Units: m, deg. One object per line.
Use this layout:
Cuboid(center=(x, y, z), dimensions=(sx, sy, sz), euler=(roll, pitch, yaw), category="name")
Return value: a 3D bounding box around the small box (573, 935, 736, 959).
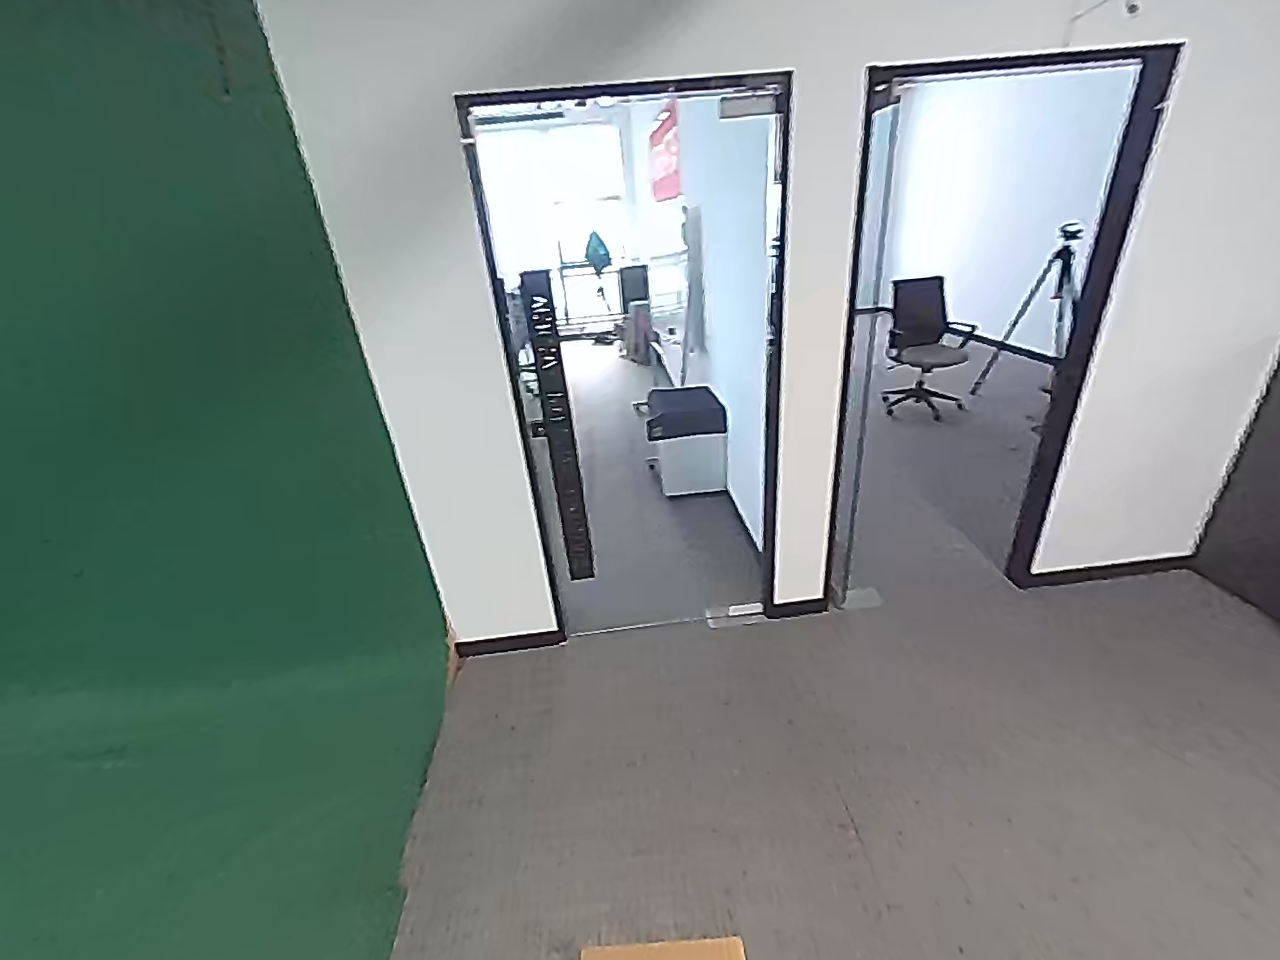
Cuboid(center=(0.020, 0.580, 0.510), dimensions=(0.168, 0.176, 0.179), euler=(-3, 27, -1), category="small box")
